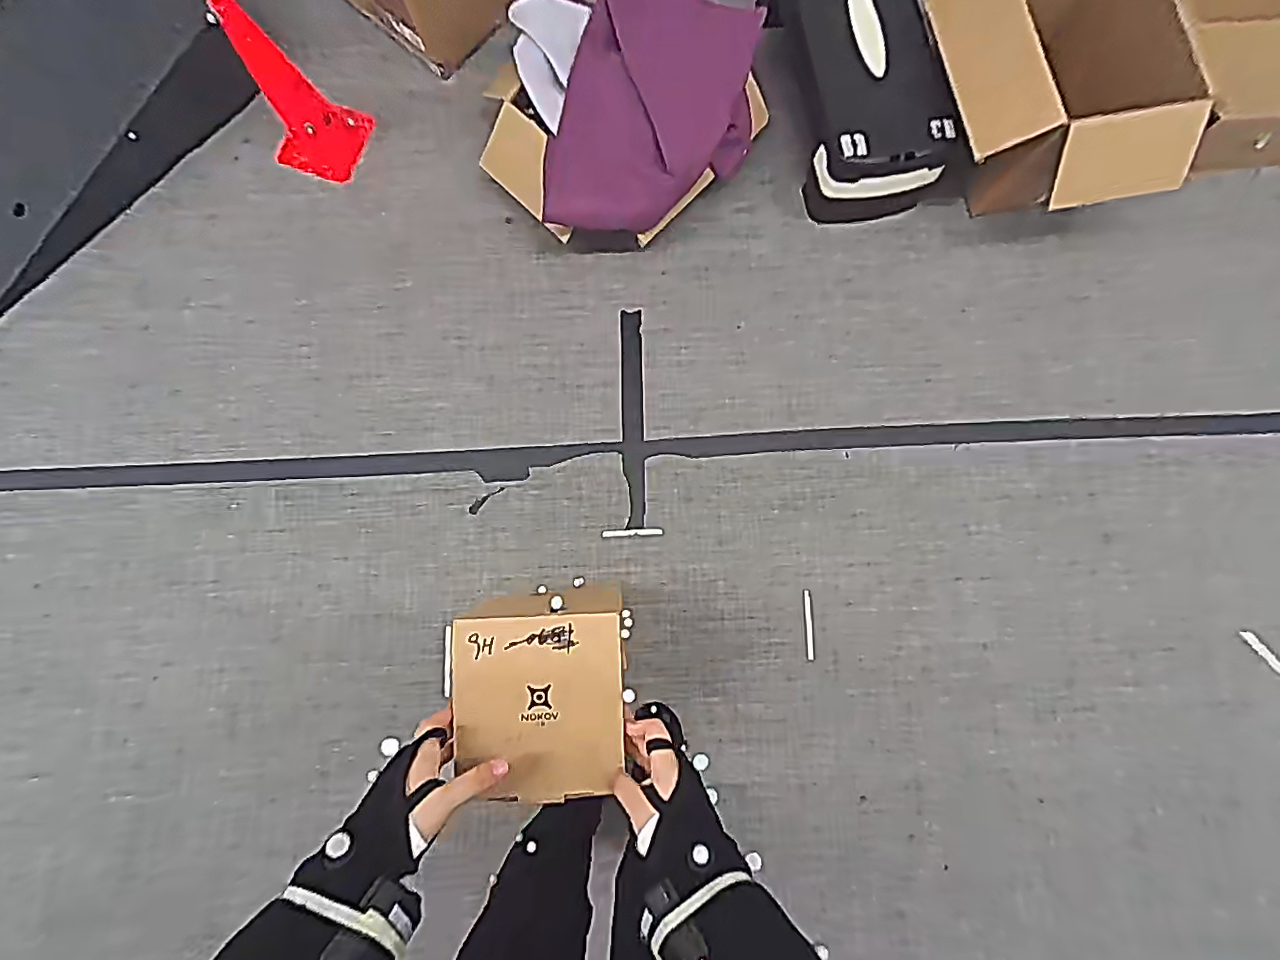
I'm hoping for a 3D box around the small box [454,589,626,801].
[{"bbox_3d":[-0.099,0.223,0.601,0.168,0.176,0.179,-2,86,-2],"label":"small box"}]
